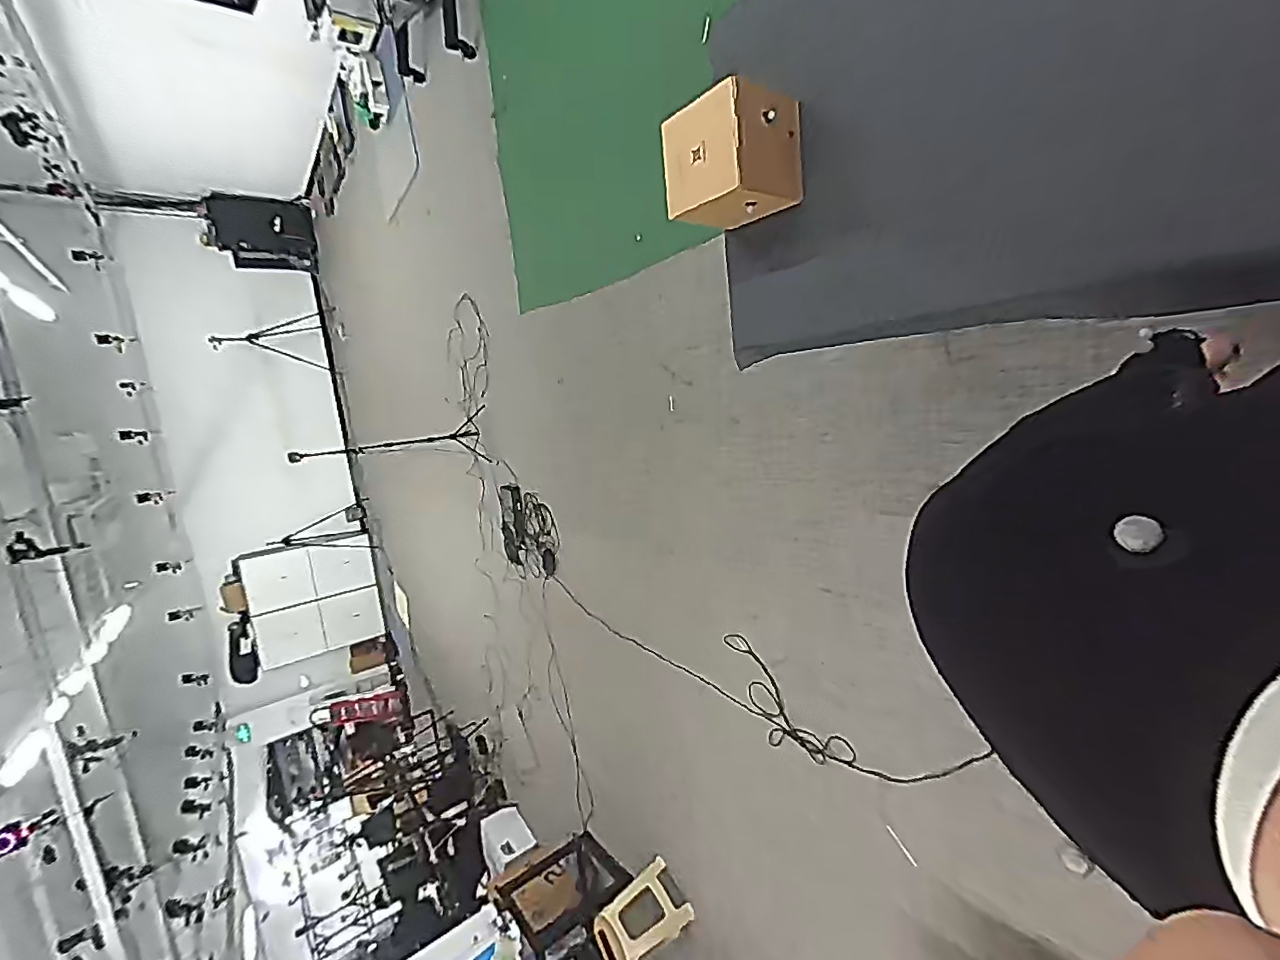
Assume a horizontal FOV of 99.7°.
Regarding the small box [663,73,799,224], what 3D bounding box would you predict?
[{"bbox_3d":[0.162,-0.565,0.950,0.179,0.176,0.168,10,106,52],"label":"small box"}]
